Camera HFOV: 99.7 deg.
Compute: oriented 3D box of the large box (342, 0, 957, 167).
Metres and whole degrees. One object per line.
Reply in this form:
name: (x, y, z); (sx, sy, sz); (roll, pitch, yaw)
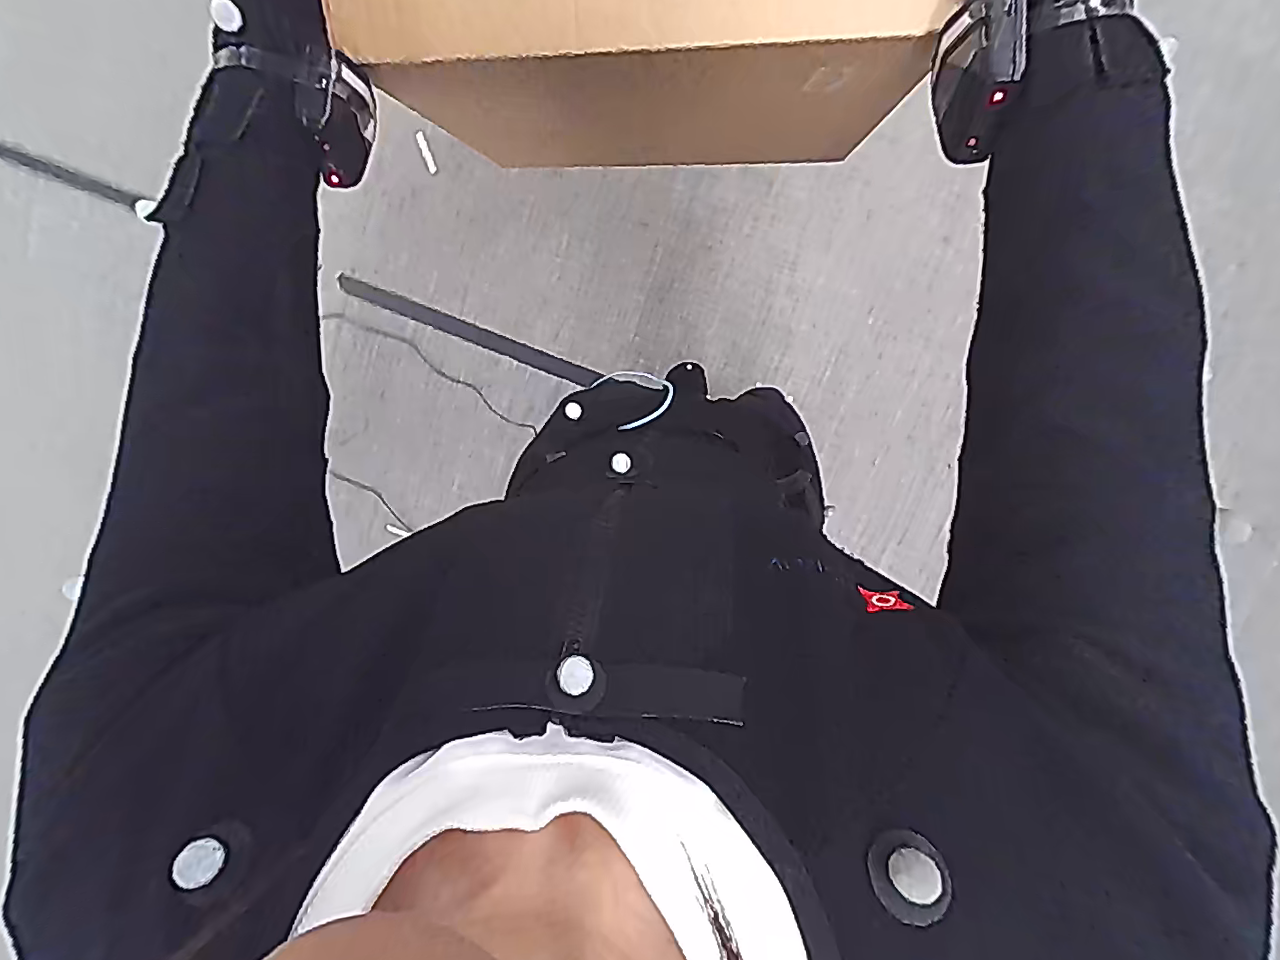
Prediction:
large box: (0.008, -0.477, 0.445); (0.408, 0.320, 0.320); (1, 109, 6)
